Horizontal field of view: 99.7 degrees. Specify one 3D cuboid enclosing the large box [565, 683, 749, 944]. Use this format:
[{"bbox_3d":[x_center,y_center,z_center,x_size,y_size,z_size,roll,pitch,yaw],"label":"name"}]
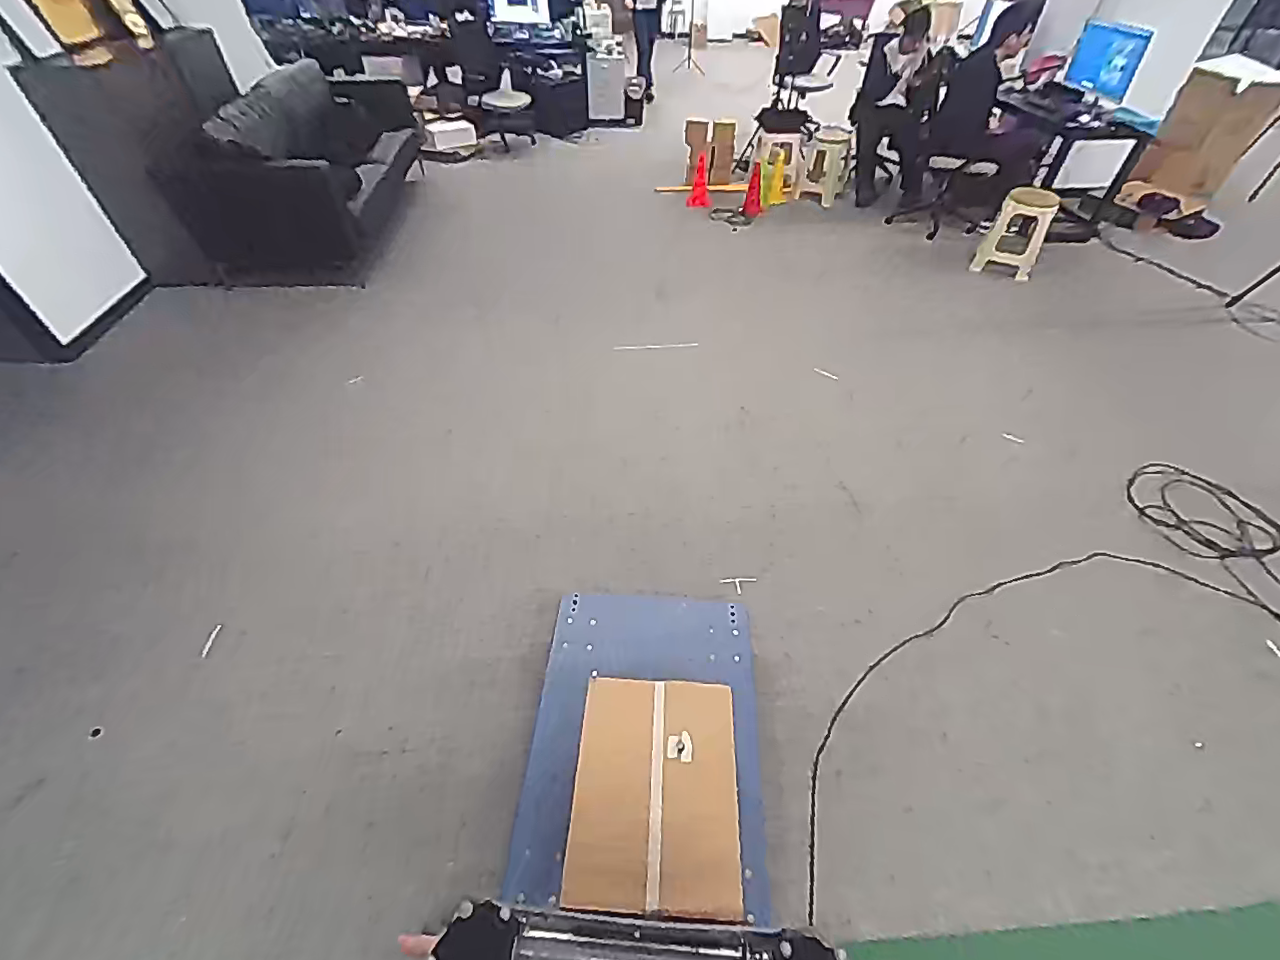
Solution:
[{"bbox_3d":[0.034,0.692,1.133,0.320,0.320,0.408,3,45,1],"label":"large box"}]
